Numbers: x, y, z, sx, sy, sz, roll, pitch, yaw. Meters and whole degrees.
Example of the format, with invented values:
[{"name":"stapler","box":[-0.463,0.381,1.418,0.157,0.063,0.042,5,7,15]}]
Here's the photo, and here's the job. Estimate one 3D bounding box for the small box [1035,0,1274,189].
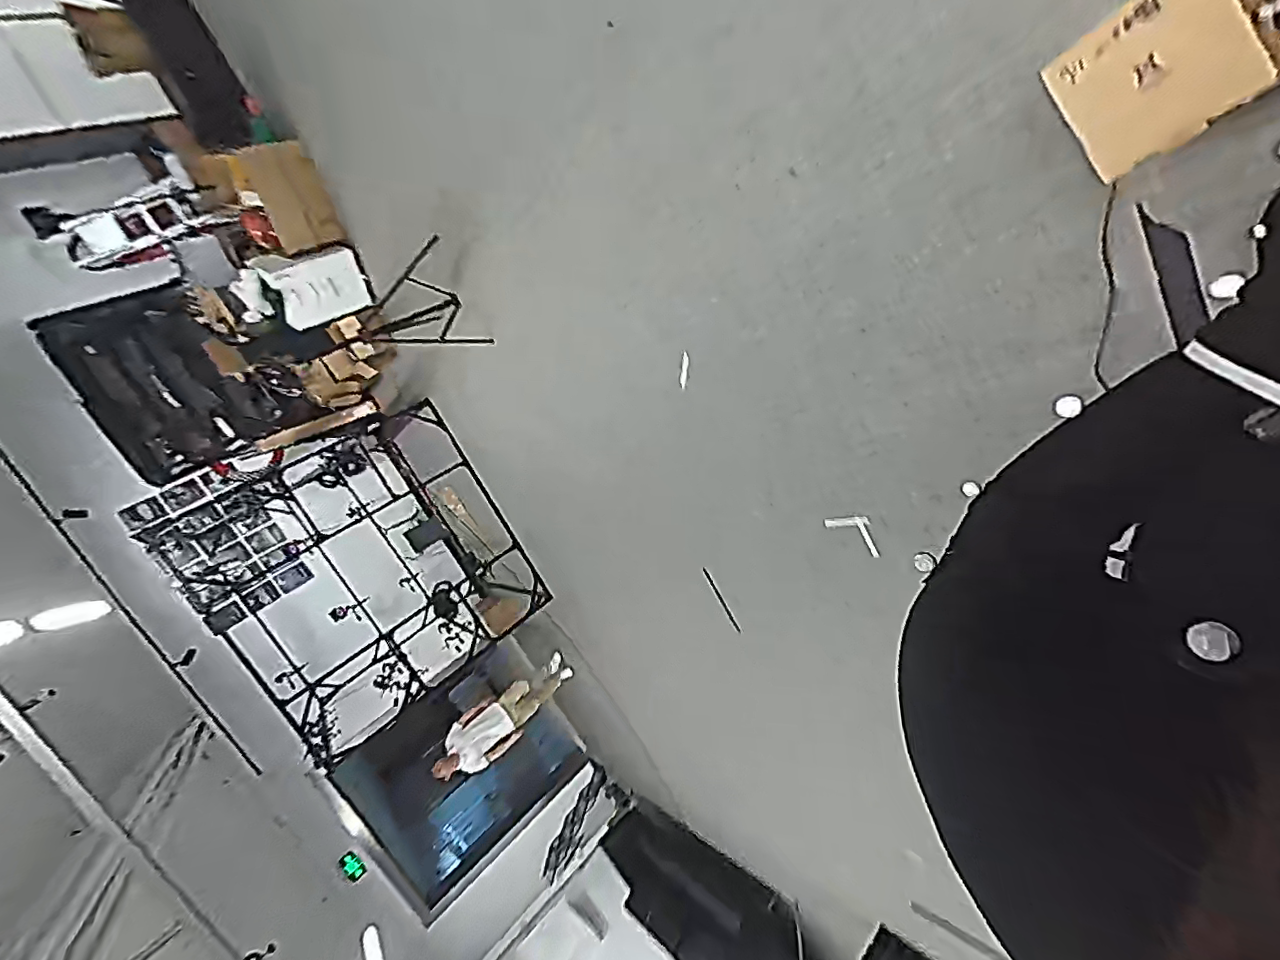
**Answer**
[{"name":"small box","box":[0.668,-0.526,0.703,0.179,0.176,0.168,57,149,-4]}]
